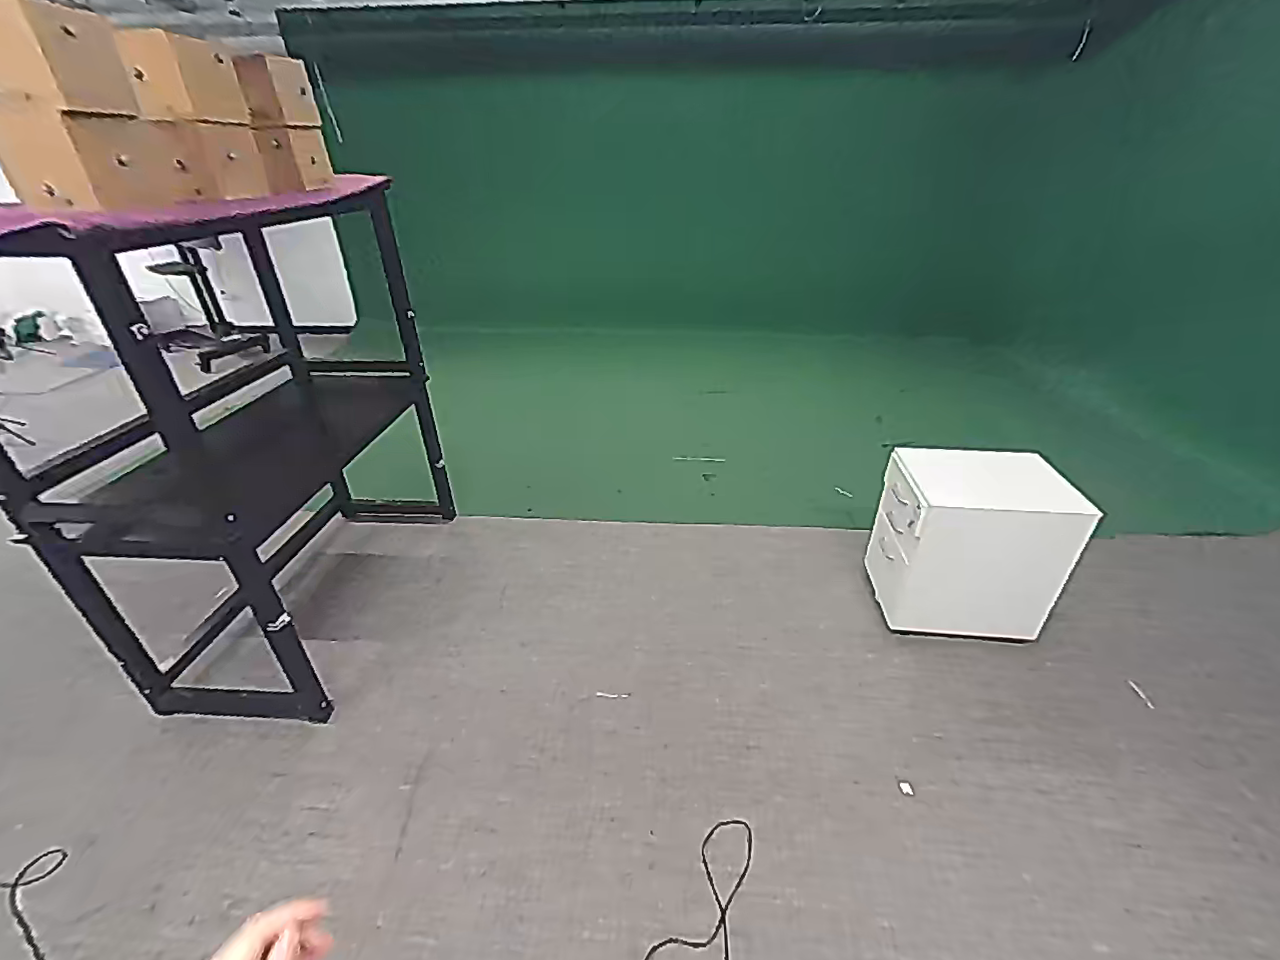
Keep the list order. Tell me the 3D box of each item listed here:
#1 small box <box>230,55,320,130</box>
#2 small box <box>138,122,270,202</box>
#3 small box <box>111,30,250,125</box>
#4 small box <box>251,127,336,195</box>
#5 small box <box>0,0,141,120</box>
[{"bbox_3d":[-1.068,-1.120,1.573,0.168,0.176,0.179,0,34,6],"label":"small box"},{"bbox_3d":[-1.091,-0.806,1.374,0.168,0.176,0.179,3,32,4],"label":"small box"},{"bbox_3d":[-1.088,-0.947,1.292,0.168,0.176,0.179,4,30,7],"label":"small box"},{"bbox_3d":[-1.077,-0.984,1.664,0.179,0.176,0.168,1,32,6],"label":"small box"},{"bbox_3d":[-1.090,-0.772,0.996,0.168,0.176,0.179,0,31,0],"label":"small box"}]
